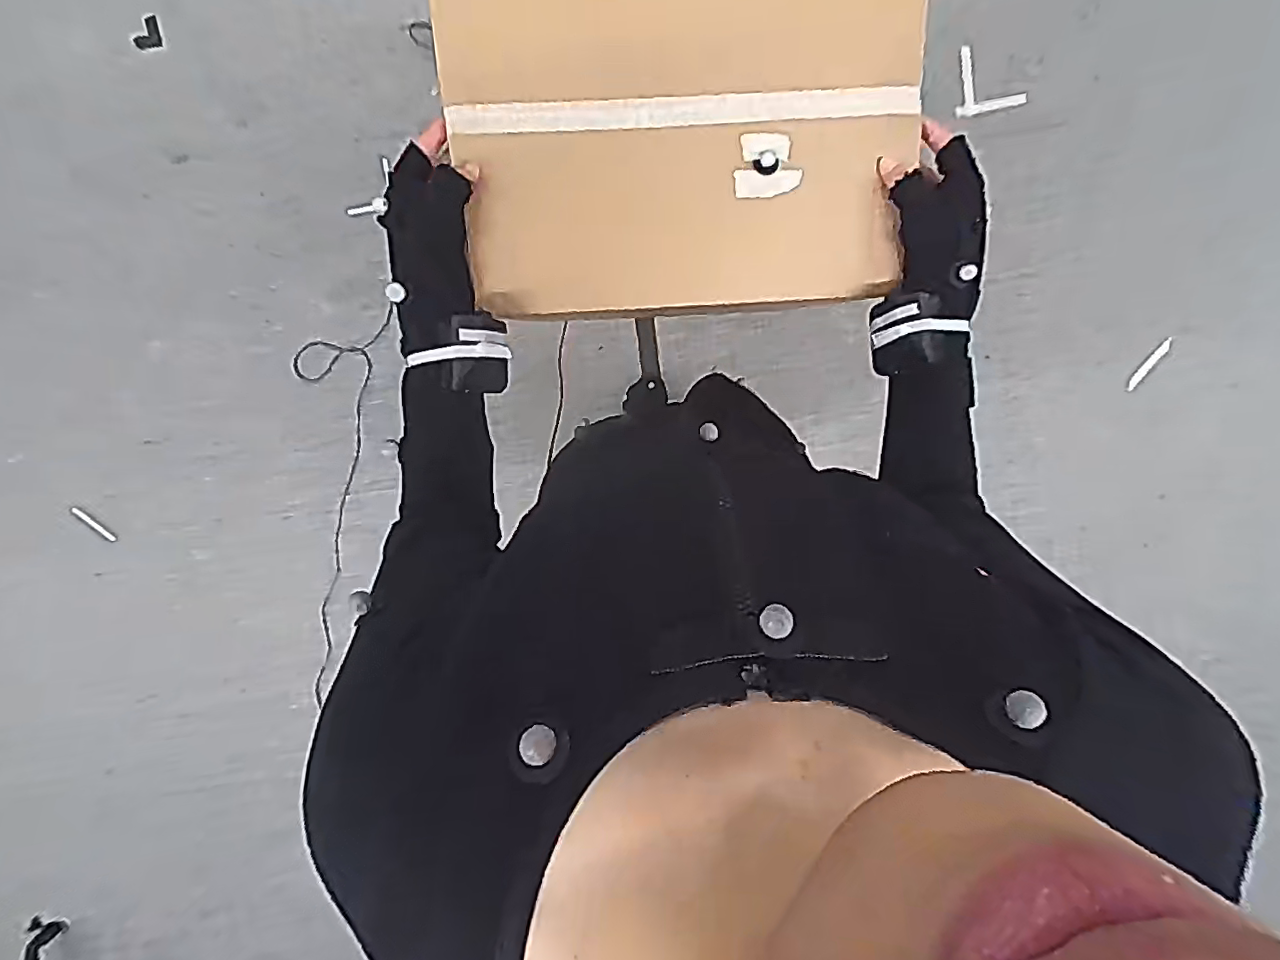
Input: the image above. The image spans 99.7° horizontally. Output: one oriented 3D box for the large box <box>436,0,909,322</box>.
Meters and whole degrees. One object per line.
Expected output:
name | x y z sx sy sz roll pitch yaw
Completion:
large box | 0.027 -0.360 0.616 0.408 0.320 0.320 -4 105 -2
